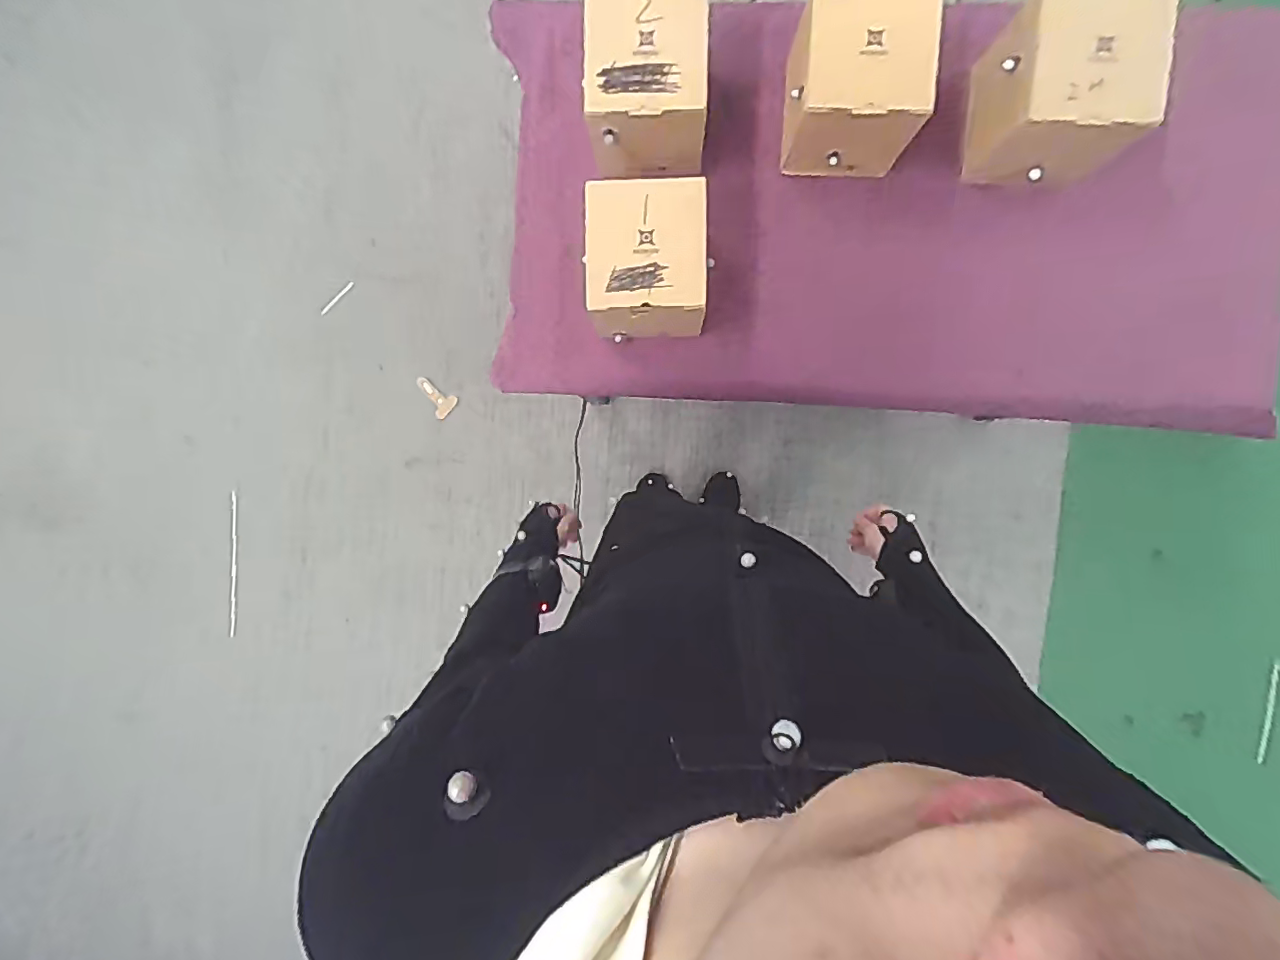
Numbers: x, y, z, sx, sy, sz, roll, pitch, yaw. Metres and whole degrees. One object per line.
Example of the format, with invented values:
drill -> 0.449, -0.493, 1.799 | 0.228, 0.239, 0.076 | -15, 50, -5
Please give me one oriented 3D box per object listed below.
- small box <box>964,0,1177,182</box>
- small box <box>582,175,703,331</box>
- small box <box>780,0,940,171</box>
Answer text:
small box -> 0.585, -0.551, 0.759 | 0.168, 0.176, 0.179 | 5, 94, 5
small box -> 0.009, -0.327, 0.813 | 0.168, 0.176, 0.179 | 0, 91, 4
small box -> 0.304, -0.579, 0.781 | 0.168, 0.176, 0.179 | 3, 96, 3
